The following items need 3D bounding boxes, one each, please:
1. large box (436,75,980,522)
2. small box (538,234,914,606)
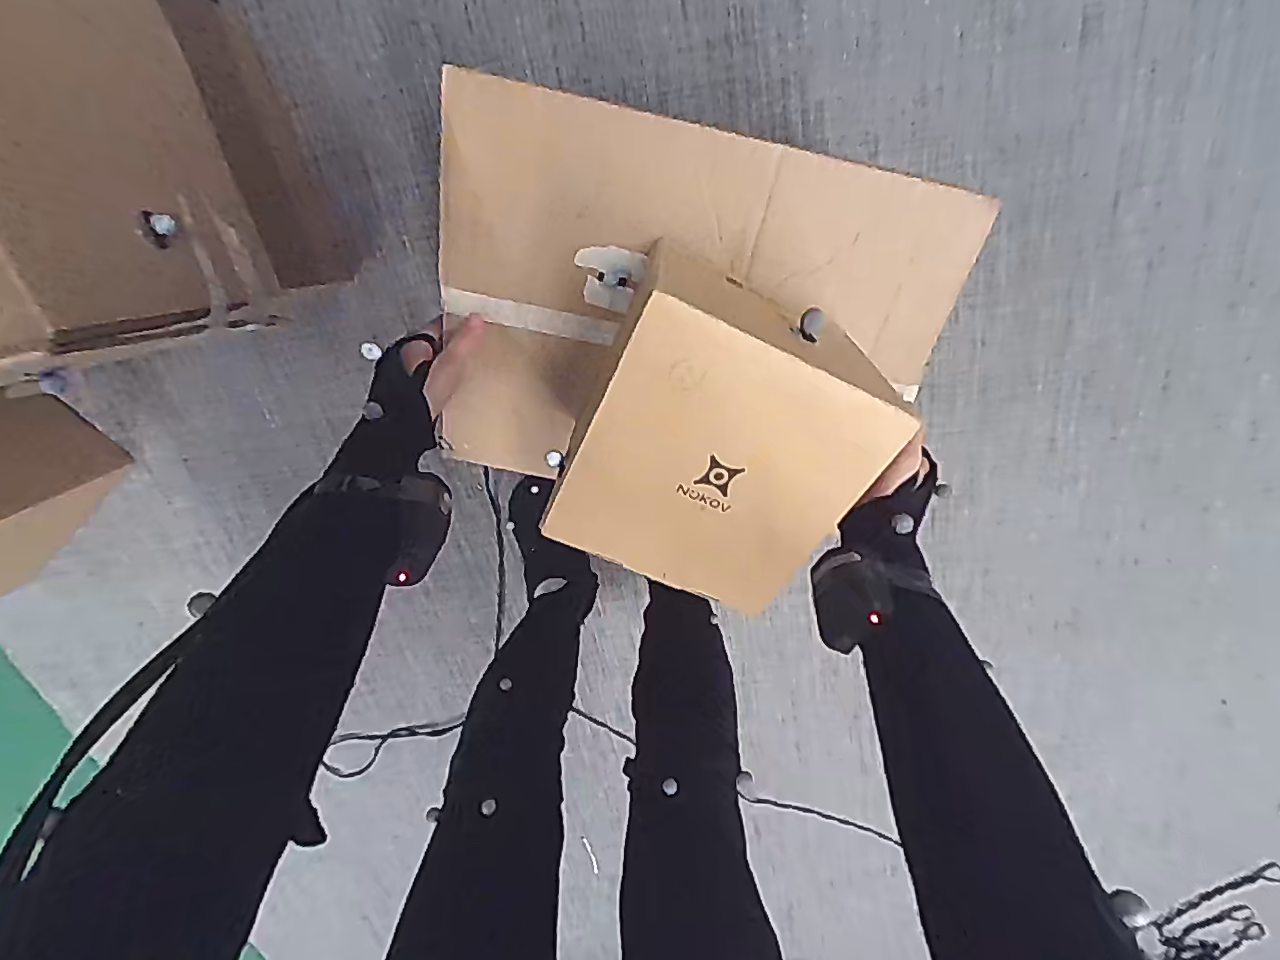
[{"bbox_3d":[0.039,-0.195,0.585,0.408,0.320,0.320,11,120,-2],"label":"large box"},{"bbox_3d":[0.045,-0.049,0.386,0.168,0.176,0.179,23,122,-11],"label":"small box"}]
